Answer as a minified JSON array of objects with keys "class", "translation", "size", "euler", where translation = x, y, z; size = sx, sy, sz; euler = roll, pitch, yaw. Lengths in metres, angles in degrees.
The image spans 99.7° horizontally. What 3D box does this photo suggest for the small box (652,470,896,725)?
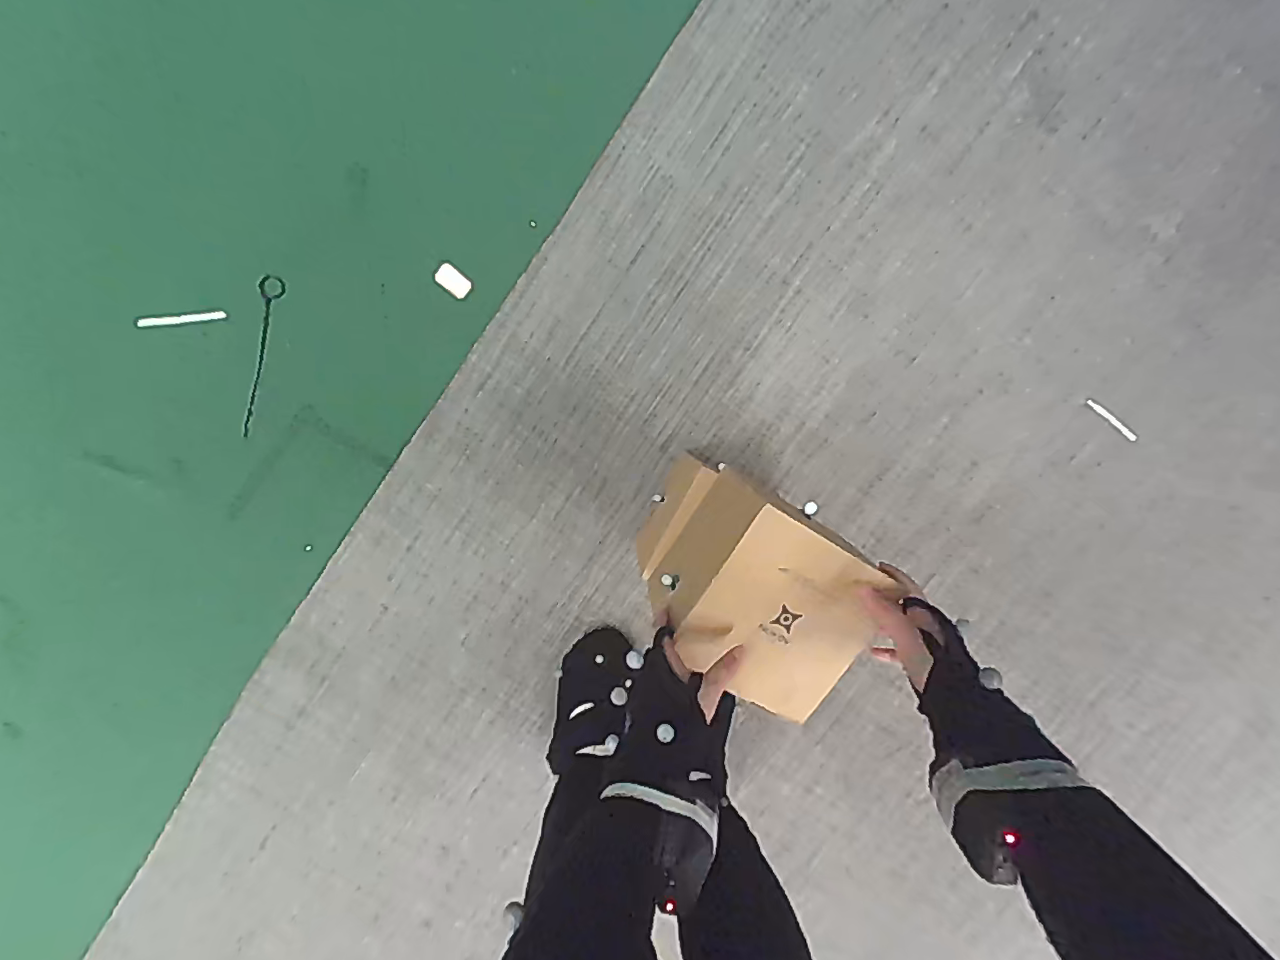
[{"class":"small box","translation":[0.124,0.113,0.584],"size":[0.168,0.176,0.179],"euler":[31,100,-11]}]
